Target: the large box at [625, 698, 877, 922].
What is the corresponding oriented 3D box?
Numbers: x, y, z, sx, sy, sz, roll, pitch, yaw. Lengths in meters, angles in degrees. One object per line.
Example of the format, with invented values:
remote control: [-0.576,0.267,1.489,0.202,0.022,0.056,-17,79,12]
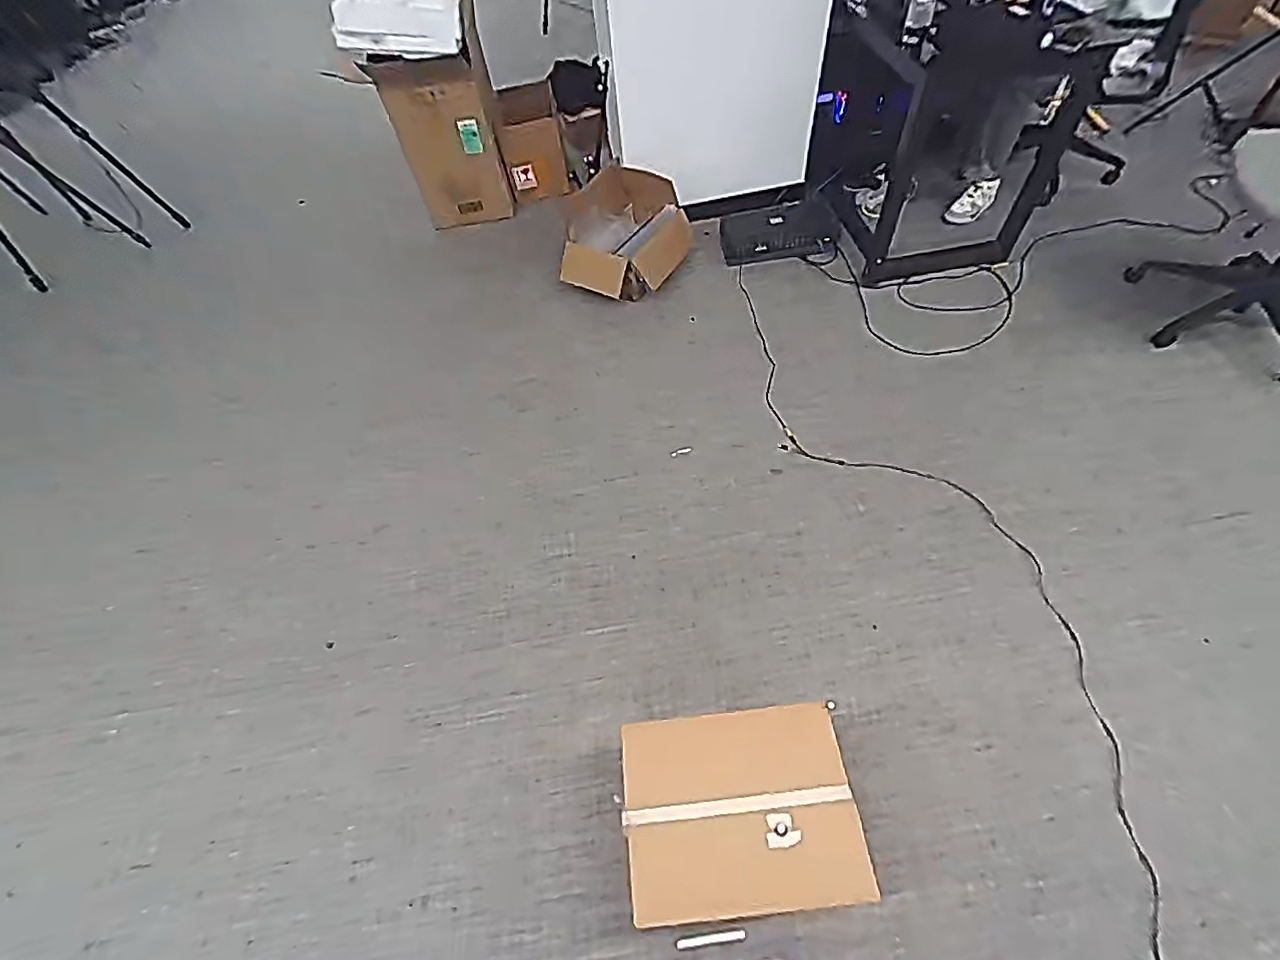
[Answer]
large box: [0.194,0.664,1.097,0.408,0.320,0.320,-7,55,1]
